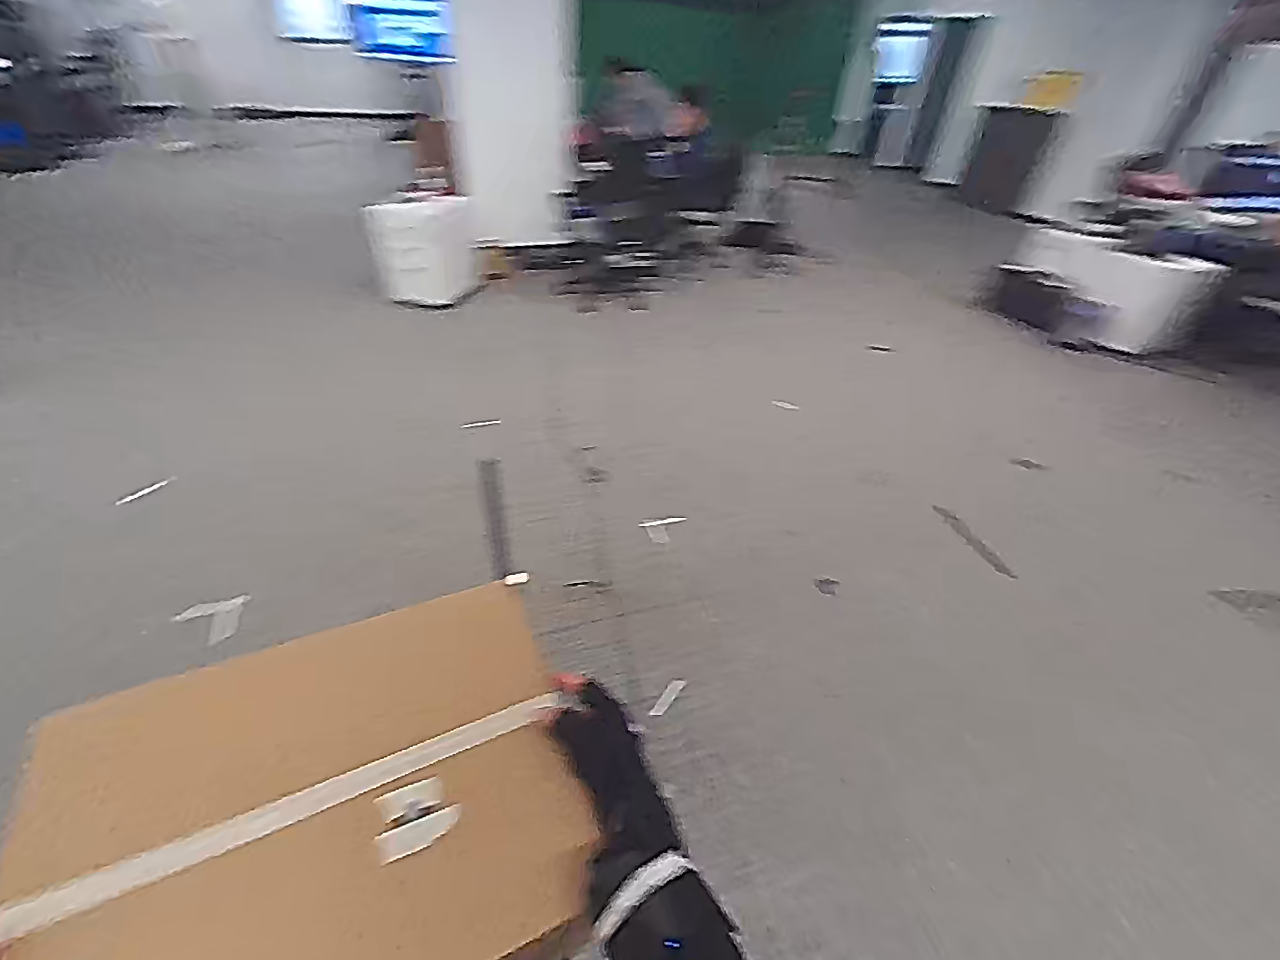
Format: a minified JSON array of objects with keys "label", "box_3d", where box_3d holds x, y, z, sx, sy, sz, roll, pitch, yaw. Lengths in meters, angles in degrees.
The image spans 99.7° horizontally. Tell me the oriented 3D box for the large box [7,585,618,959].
[{"label":"large box","box_3d":[-0.278,0.372,0.555,0.408,0.320,0.320,-13,49,-24]}]
